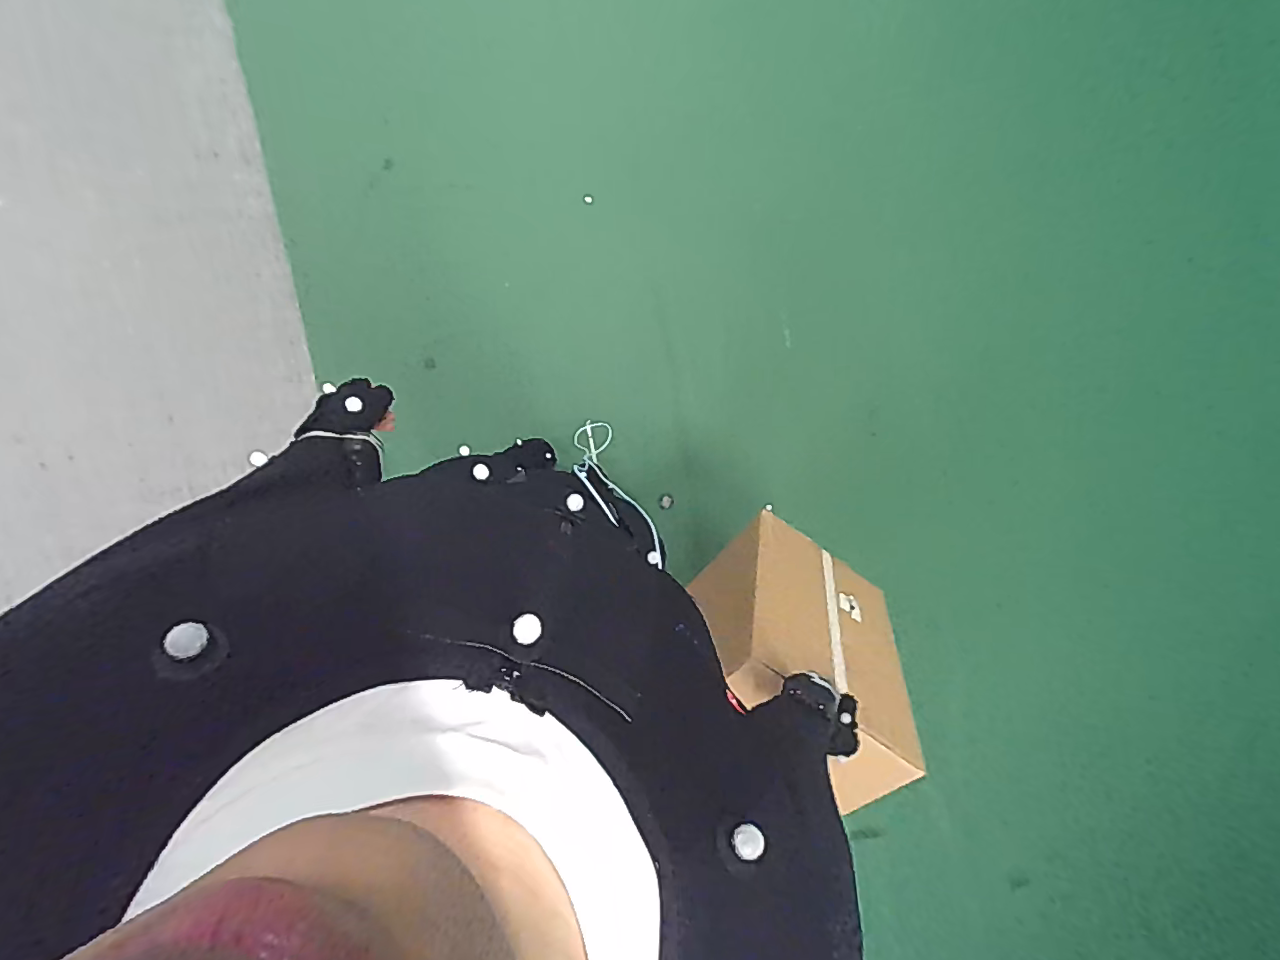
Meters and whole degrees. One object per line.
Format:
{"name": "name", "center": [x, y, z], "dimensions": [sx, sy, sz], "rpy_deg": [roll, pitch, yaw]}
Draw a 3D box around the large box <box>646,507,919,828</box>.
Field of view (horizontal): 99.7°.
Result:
{"name": "large box", "center": [0.246, 0.332, 1.013], "dimensions": [0.320, 0.408, 0.320], "rpy_deg": [35, 120, -6]}
